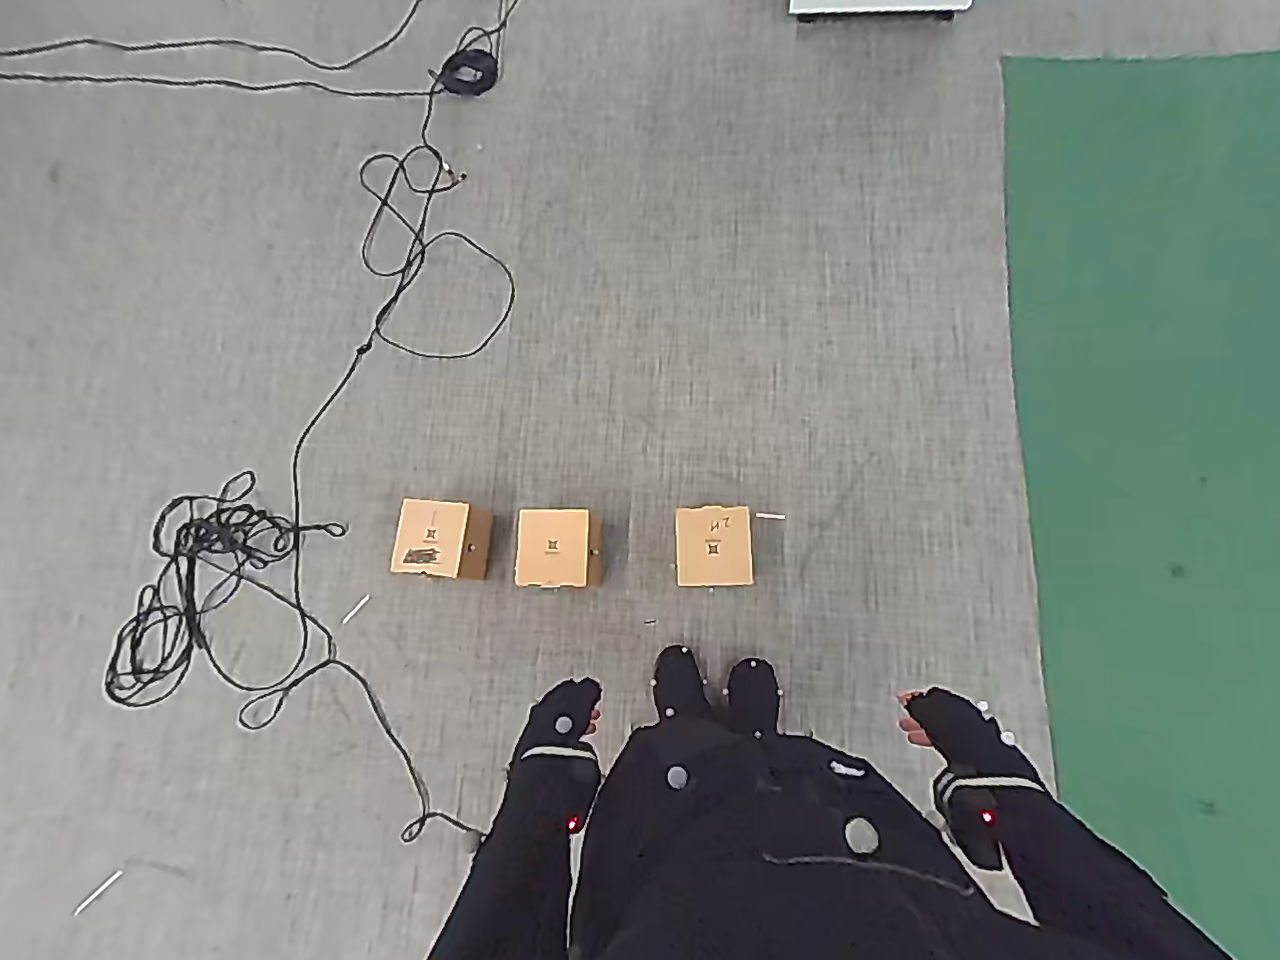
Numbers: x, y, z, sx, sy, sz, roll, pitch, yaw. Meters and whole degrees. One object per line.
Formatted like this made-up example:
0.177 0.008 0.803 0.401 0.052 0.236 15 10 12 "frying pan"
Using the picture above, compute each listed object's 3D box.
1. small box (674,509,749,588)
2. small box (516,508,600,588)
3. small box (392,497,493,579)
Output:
0.166 0.166 1.280 0.168 0.176 0.179 -1 78 4 "small box"
-0.193 0.169 1.314 0.168 0.176 0.179 0 78 5 "small box"
-0.481 0.149 1.343 0.168 0.176 0.179 5 77 6 "small box"
